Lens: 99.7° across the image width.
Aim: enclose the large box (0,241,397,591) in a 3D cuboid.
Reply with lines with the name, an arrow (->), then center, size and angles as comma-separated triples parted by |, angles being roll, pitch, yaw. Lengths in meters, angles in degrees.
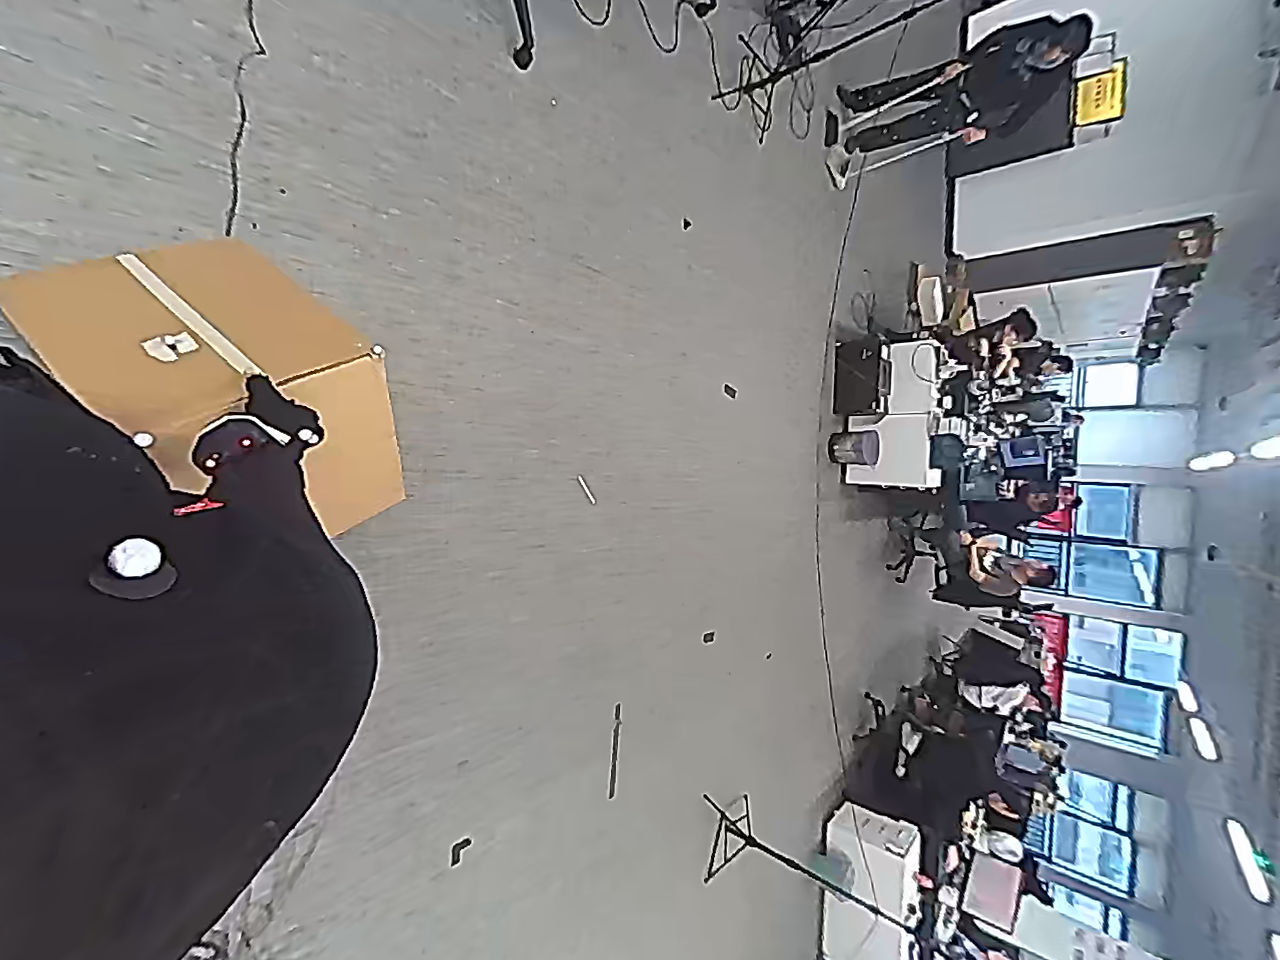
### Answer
large box -> -0.646, -0.114, 0.841 | 0.320, 0.408, 0.320 | -38, 156, -38
